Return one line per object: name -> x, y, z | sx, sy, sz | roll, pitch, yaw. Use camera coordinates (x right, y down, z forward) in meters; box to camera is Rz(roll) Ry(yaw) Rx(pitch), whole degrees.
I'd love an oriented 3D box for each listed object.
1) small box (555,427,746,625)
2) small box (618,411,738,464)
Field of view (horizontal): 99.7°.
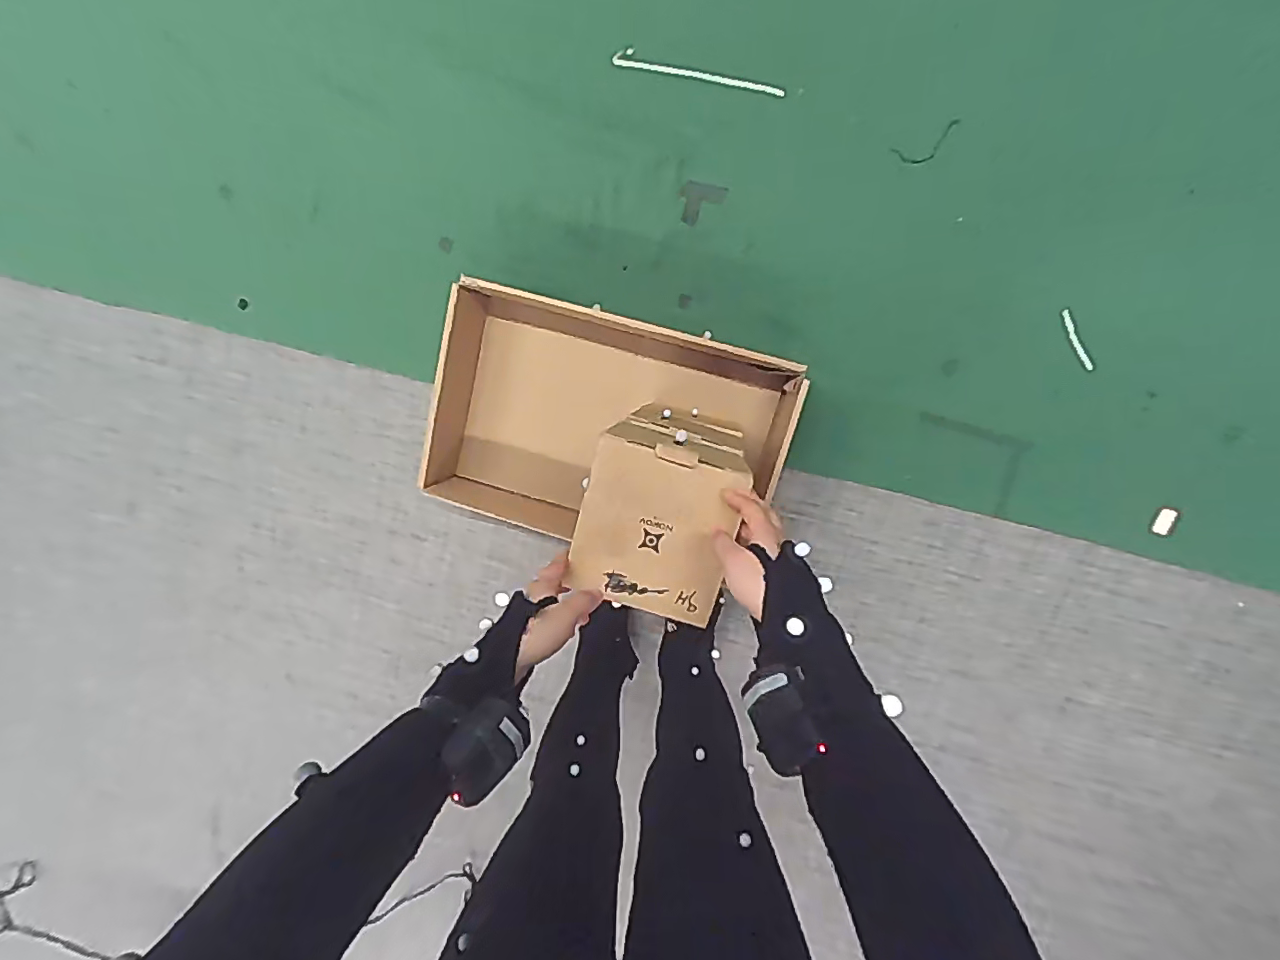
small box -> 0.014, 0.040, 0.641 | 0.168, 0.176, 0.179 | 15, 99, 3
small box -> 0.037, 0.003, 0.805 | 0.168, 0.176, 0.179 | 18, 103, 5
